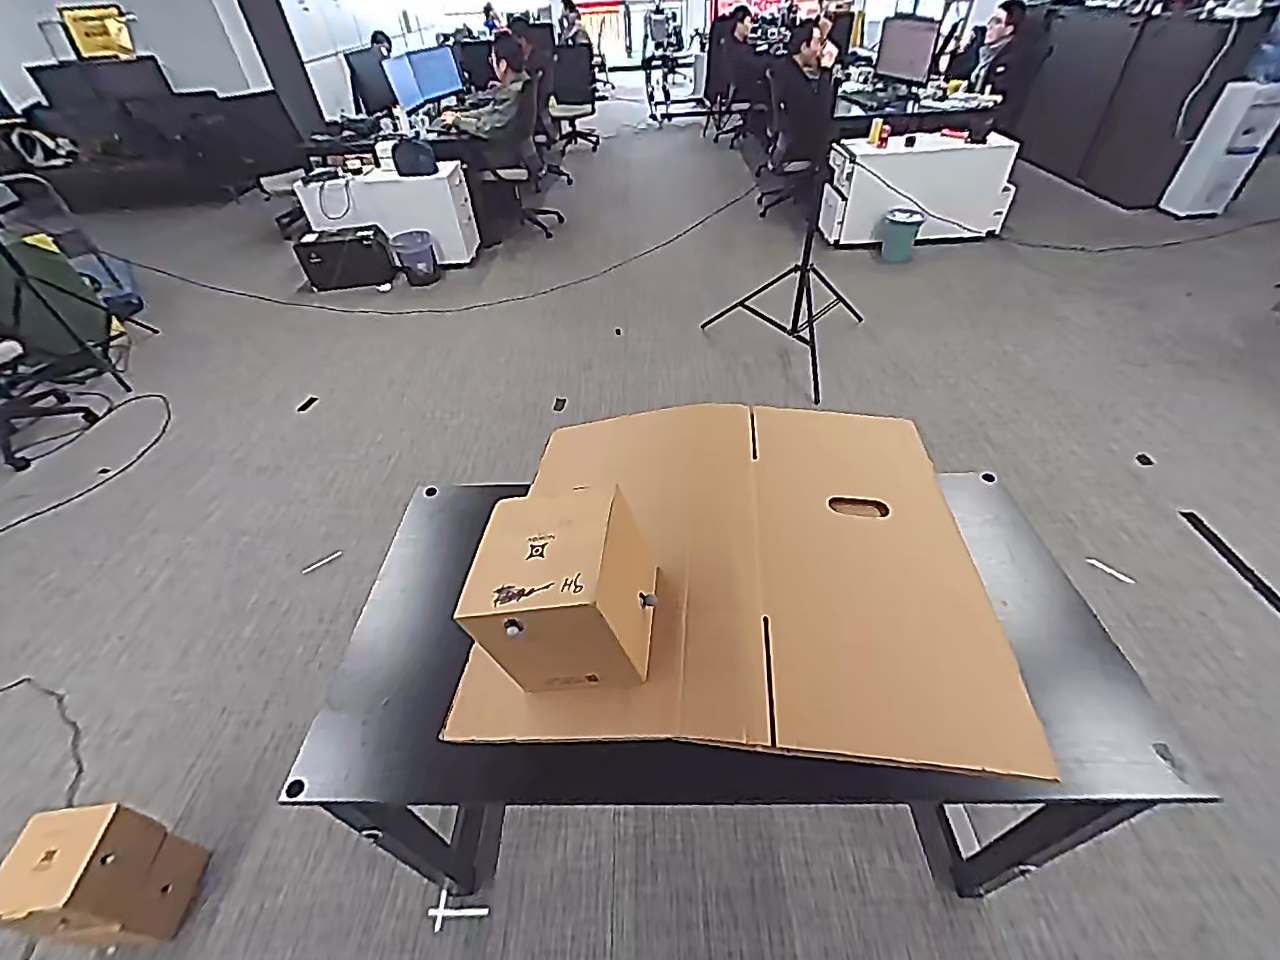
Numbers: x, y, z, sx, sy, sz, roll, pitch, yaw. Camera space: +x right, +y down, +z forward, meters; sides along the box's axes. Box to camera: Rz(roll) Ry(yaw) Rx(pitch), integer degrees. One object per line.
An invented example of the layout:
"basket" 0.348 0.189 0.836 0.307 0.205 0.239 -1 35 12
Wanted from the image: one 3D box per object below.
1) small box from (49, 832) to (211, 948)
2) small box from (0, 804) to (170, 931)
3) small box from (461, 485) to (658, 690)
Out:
"small box" -1.111 0.913 1.203 0.168 0.176 0.179 -5 43 0
"small box" -1.122 0.790 1.097 0.168 0.176 0.179 -6 42 -3
"small box" -0.082 0.134 0.665 0.168 0.176 0.179 -10 40 17
